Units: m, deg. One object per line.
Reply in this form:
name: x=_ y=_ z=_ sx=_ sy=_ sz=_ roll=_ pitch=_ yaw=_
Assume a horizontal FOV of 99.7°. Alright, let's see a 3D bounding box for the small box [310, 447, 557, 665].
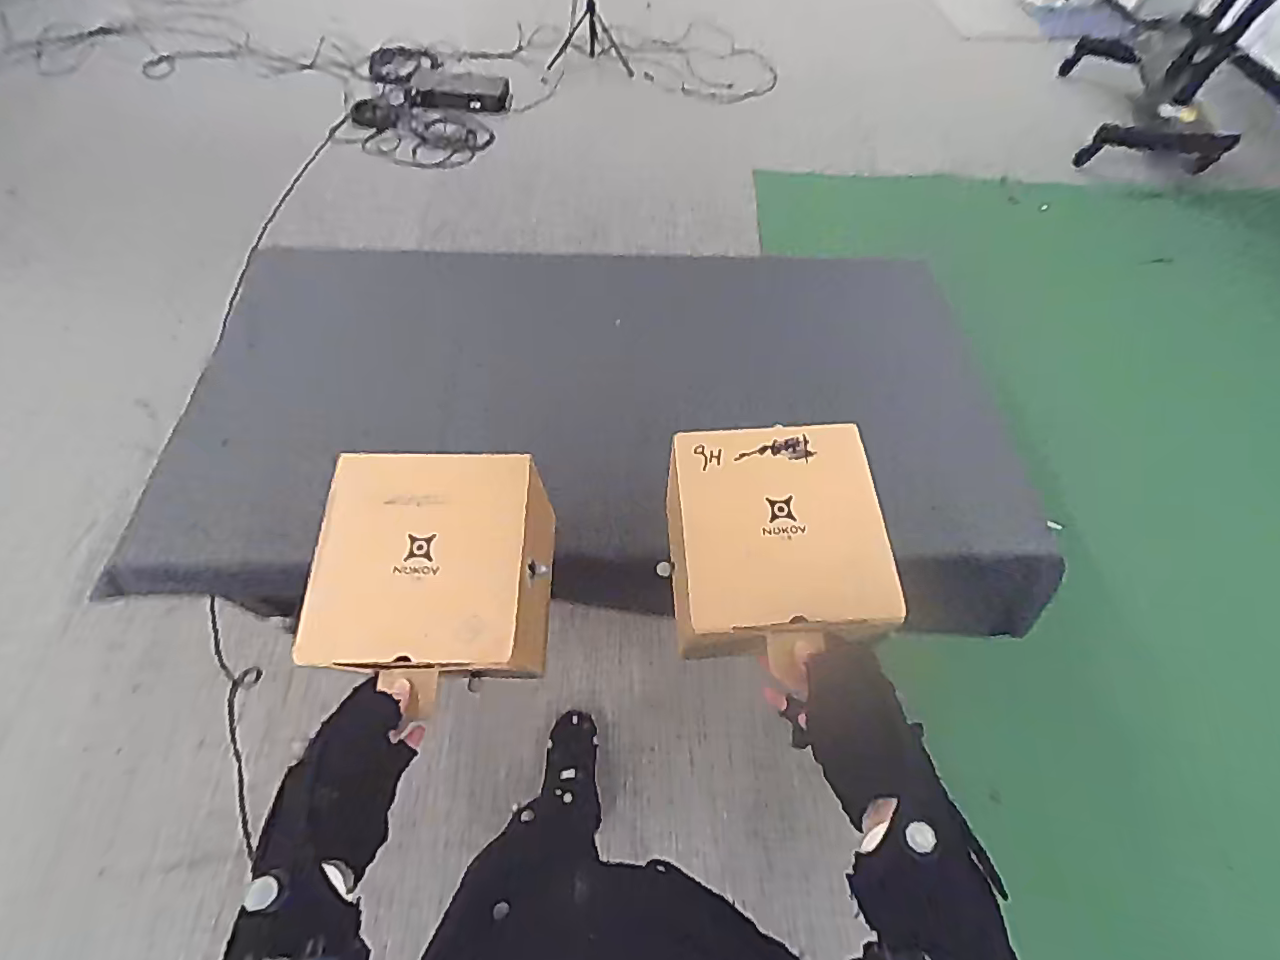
small box: x=-0.174 y=0.082 z=0.519 sx=0.168 sy=0.176 sz=0.179 roll=0 pitch=66 yaw=-1
